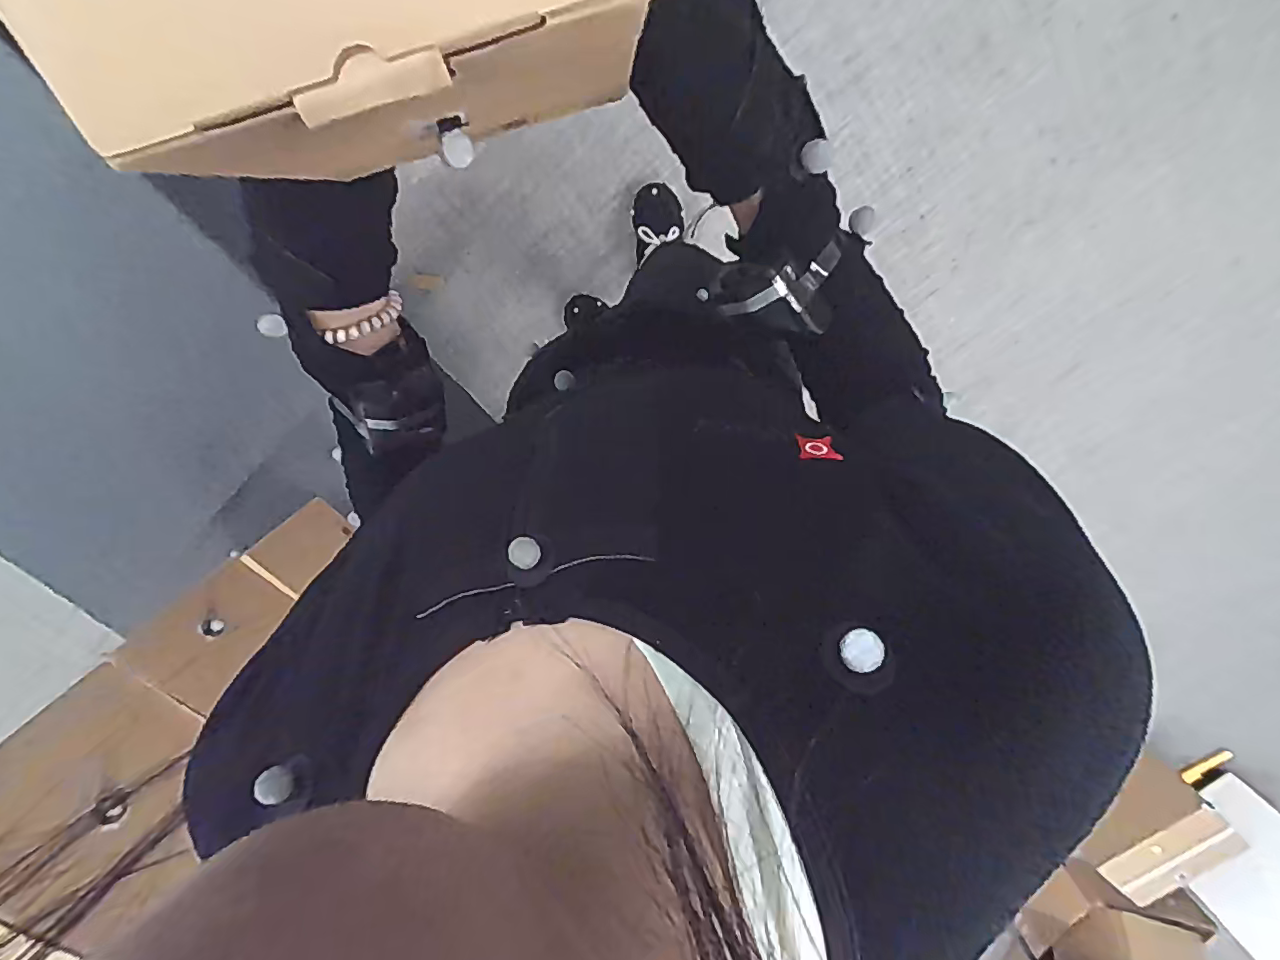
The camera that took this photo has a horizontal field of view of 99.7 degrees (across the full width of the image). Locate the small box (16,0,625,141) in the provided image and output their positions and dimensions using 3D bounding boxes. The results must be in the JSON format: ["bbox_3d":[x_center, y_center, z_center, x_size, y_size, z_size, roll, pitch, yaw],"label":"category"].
[{"bbox_3d":[-0.100,-0.230,0.179,0.168,0.176,0.179,-14,118,3],"label":"small box"}]

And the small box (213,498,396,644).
[{"bbox_3d":[-0.471,0.157,0.733,0.179,0.176,0.168,-37,109,12],"label":"small box"}]

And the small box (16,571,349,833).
[{"bbox_3d":[-0.467,0.223,0.584,0.168,0.176,0.179,-39,108,14],"label":"small box"}]
